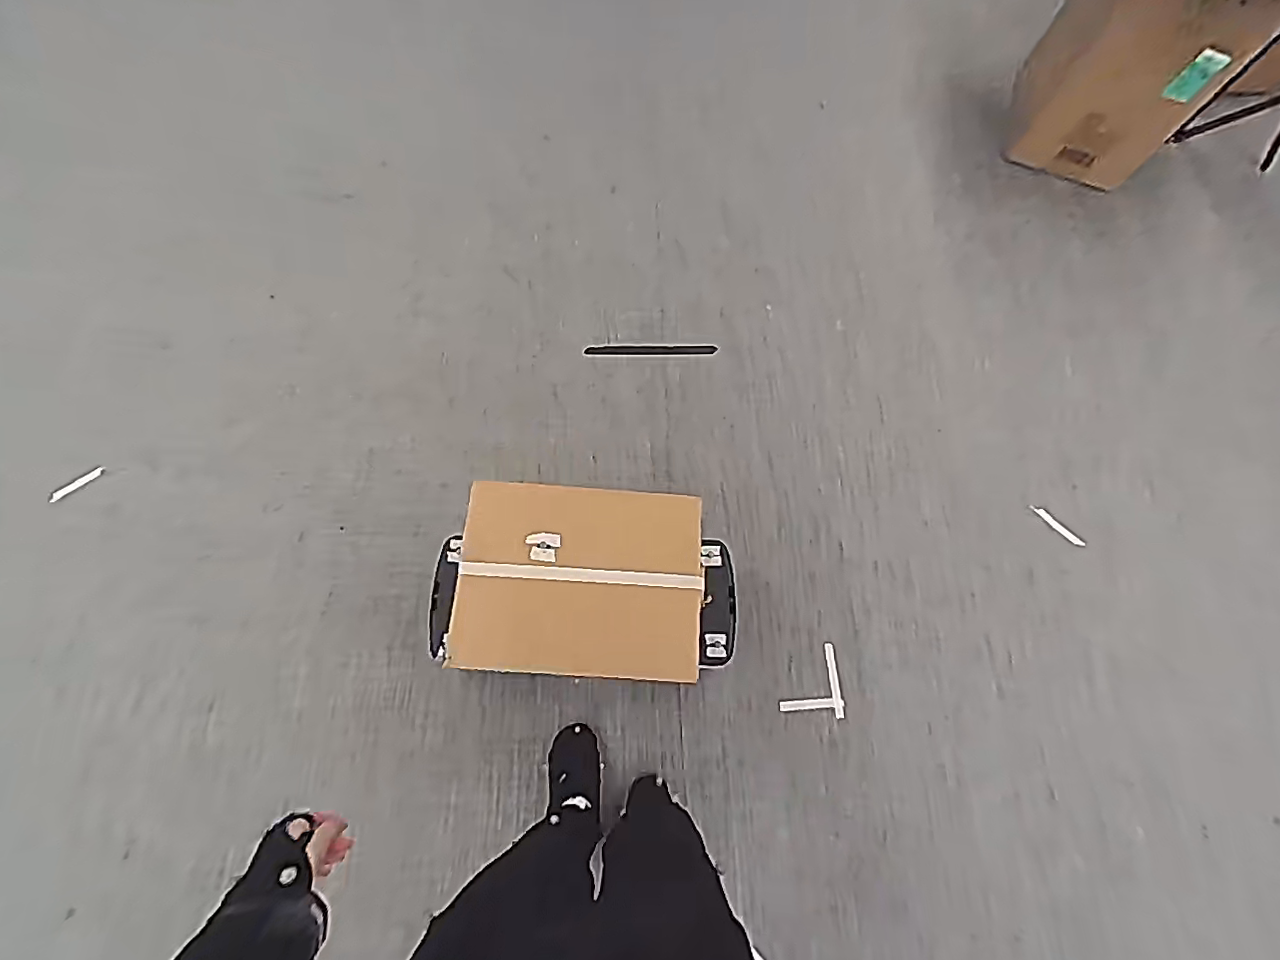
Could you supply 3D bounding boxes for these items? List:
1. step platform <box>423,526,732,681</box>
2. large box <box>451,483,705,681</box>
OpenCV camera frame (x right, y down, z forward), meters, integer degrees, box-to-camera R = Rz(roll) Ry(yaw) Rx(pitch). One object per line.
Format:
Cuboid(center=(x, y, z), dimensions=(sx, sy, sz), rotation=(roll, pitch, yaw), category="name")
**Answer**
Cuboid(center=(-0.132, 0.287, 1.256), dimensions=(0.684, 0.204, 0.286), rotation=(6, 71, 0), category="step platform")
Cuboid(center=(-0.094, 0.206, 1.032), dimensions=(0.408, 0.320, 0.320), rotation=(4, 70, -1), category="large box")
